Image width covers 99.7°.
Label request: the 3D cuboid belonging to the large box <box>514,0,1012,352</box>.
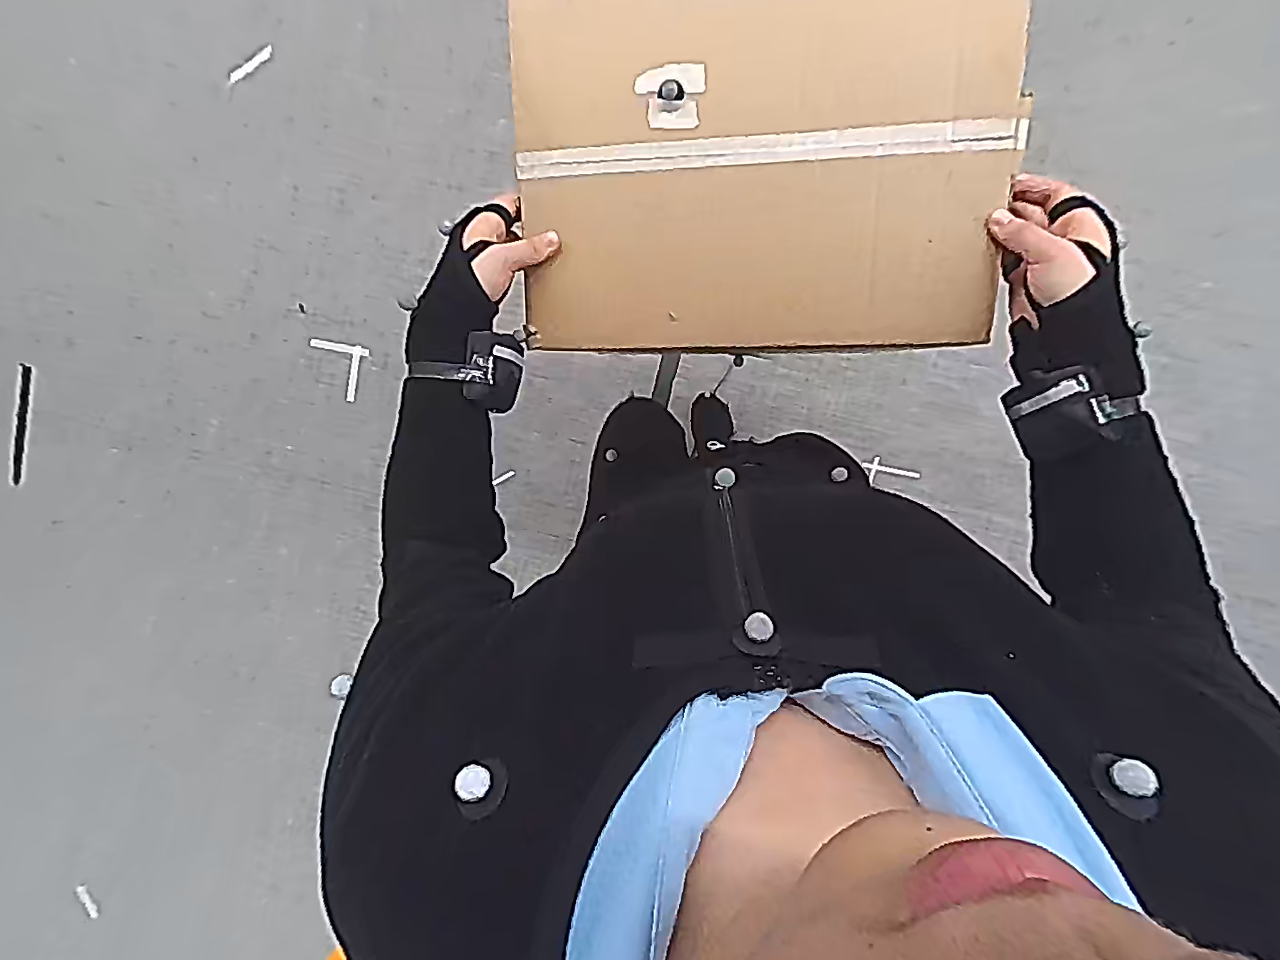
[{"bbox_3d":[0.115,-0.308,0.604,0.408,0.320,0.320,1,101,9],"label":"large box"}]
